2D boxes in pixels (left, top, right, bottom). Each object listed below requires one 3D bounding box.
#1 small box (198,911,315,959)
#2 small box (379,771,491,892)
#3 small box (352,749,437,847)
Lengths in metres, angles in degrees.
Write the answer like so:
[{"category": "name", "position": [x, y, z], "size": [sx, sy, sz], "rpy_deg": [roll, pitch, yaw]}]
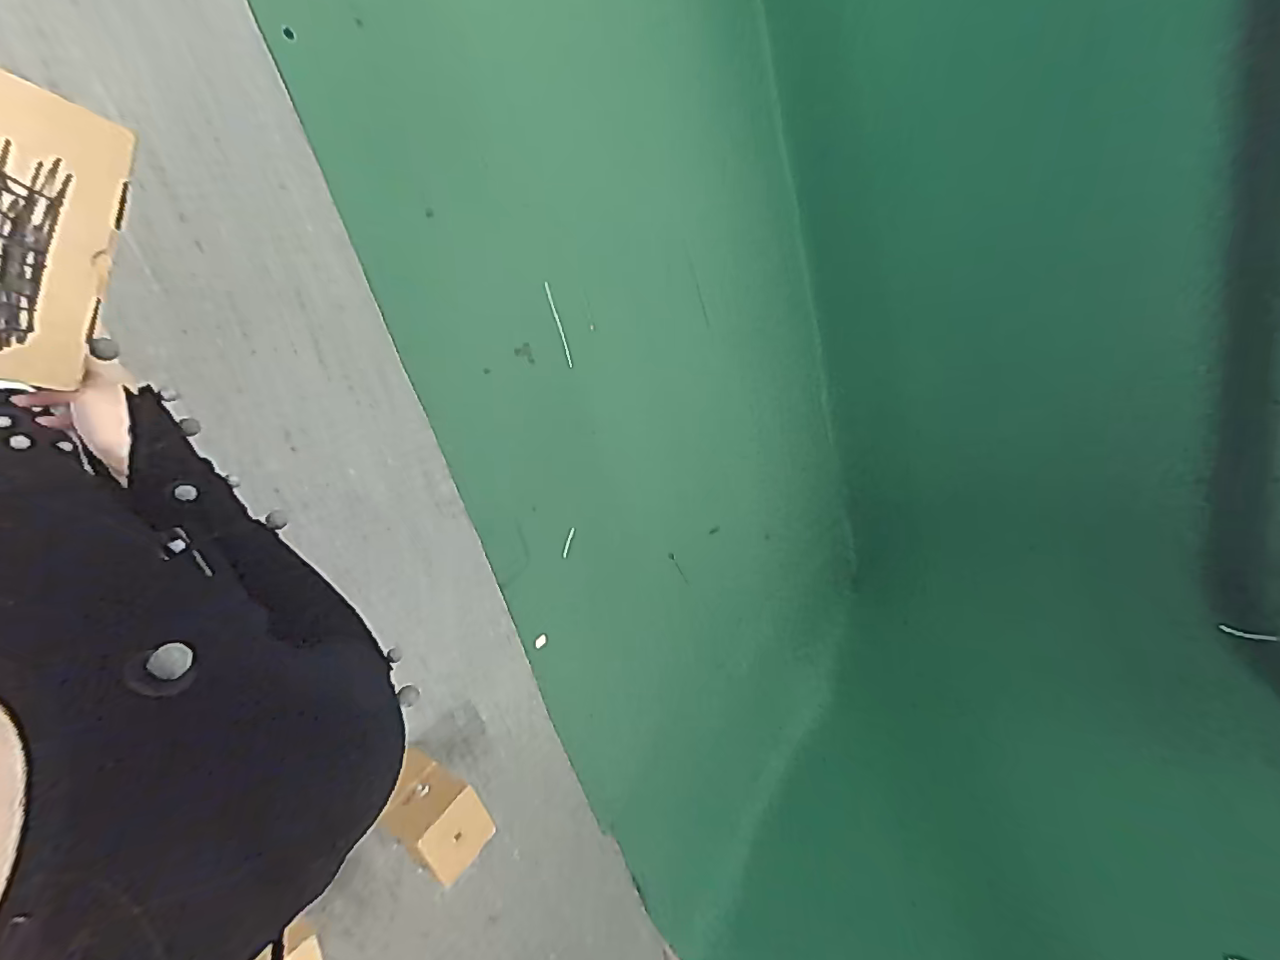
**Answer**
[{"category": "small box", "position": [-0.756, 1.008, 1.070], "size": [0.168, 0.176, 0.179], "rpy_deg": [-17, 101, -50]}, {"category": "small box", "position": [-0.518, 0.878, 1.369], "size": [0.168, 0.176, 0.179], "rpy_deg": [-41, 120, -44]}, {"category": "small box", "position": [-0.641, 0.873, 1.473], "size": [0.168, 0.176, 0.179], "rpy_deg": [-41, 120, -43]}]
